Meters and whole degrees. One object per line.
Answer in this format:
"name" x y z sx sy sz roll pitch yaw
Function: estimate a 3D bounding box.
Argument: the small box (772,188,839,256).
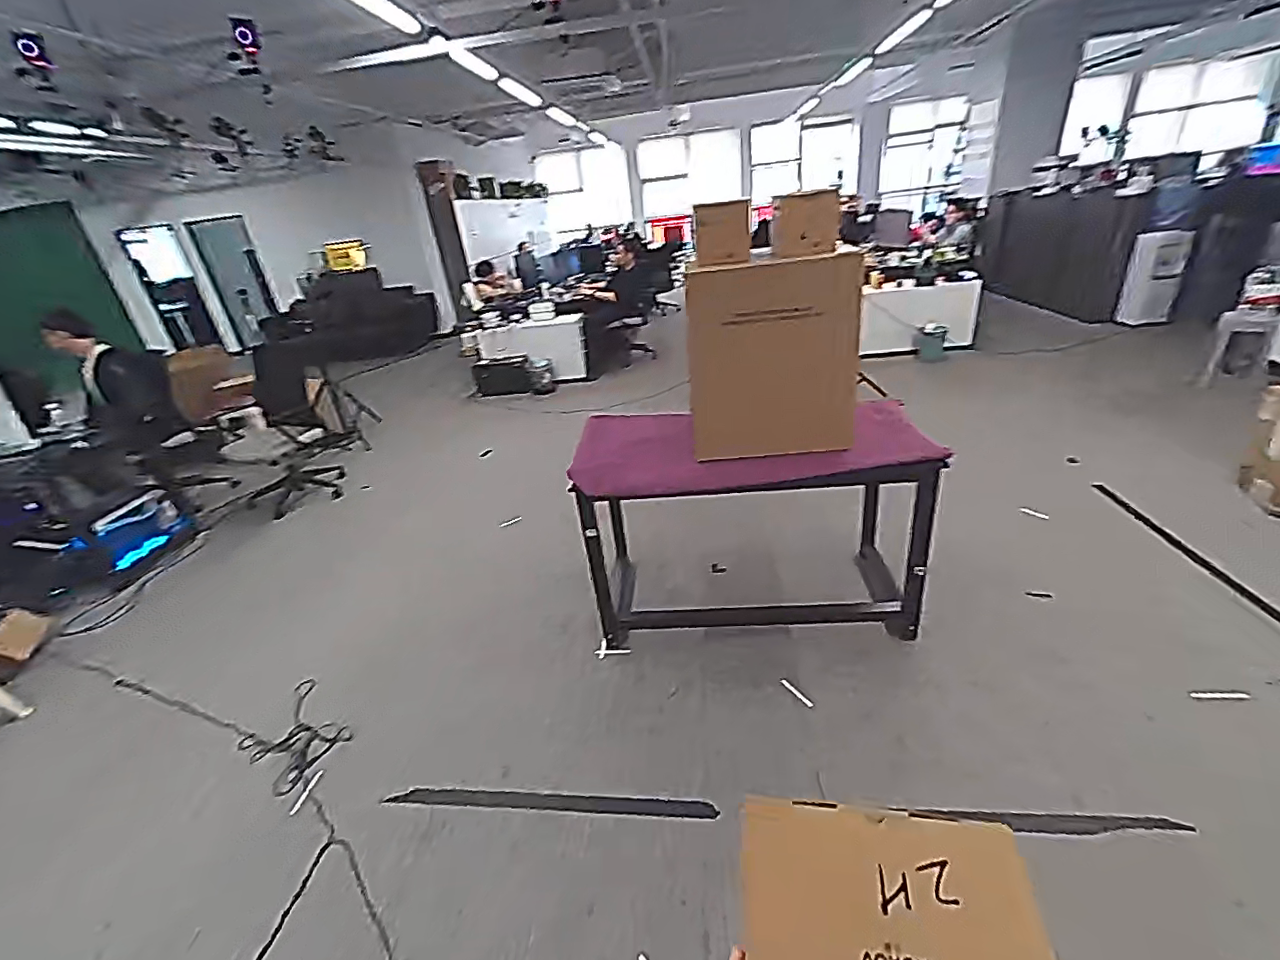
"small box" 0.500 -0.788 1.657 0.168 0.176 0.179 -6 28 5

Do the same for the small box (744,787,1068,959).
"small box" 0.151 0.324 0.338 0.168 0.176 0.179 1 42 9
